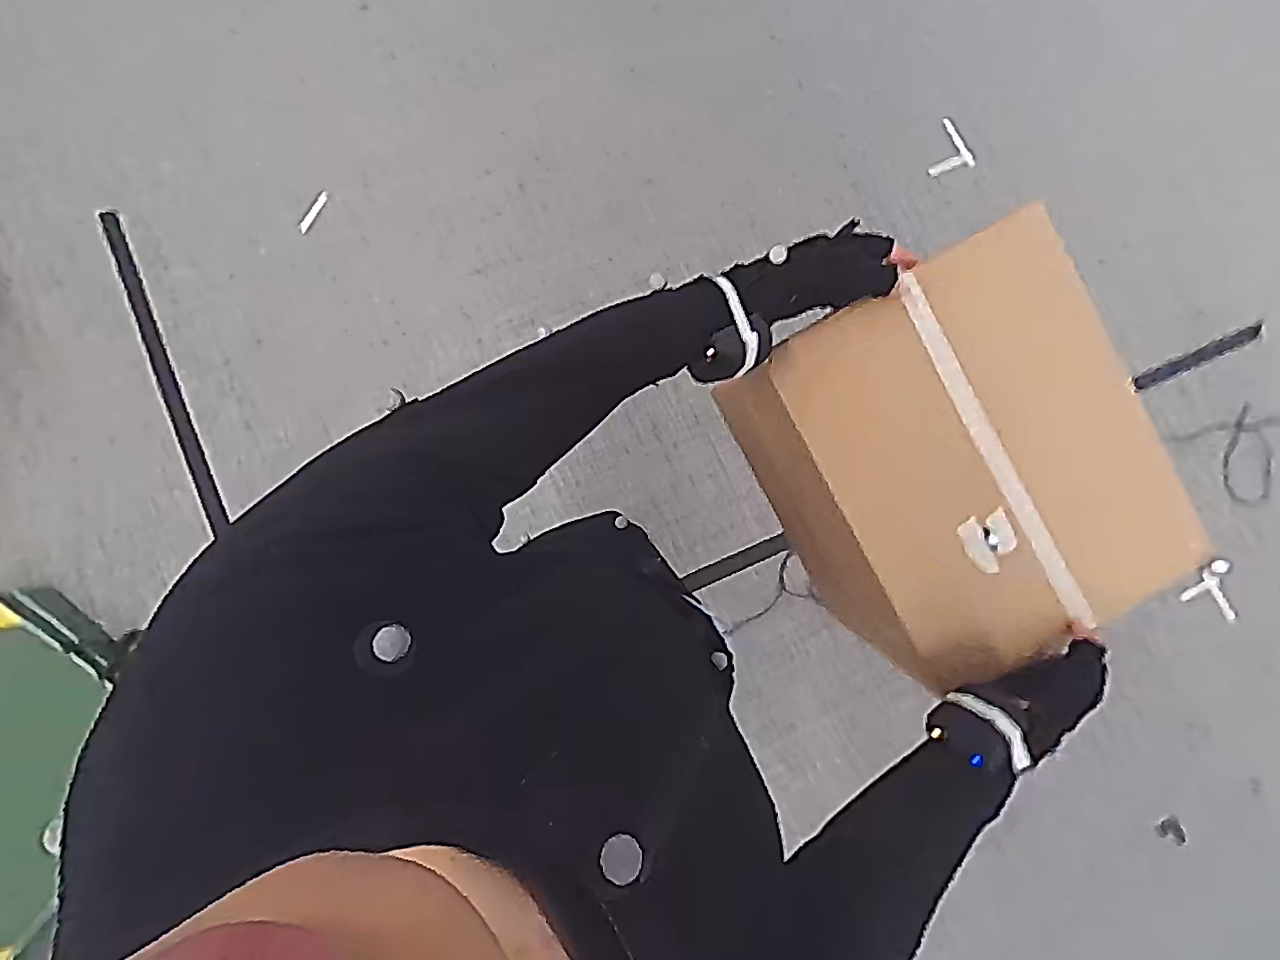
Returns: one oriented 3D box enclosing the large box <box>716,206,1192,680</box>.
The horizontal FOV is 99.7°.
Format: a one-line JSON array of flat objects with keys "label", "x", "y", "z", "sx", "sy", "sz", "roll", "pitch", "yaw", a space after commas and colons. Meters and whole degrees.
[{"label": "large box", "x": 0.345, "y": -0.042, "z": 0.699, "sx": 0.320, "sy": 0.320, "sz": 0.408, "roll": -29, "pitch": 94, "yaw": 2}]
